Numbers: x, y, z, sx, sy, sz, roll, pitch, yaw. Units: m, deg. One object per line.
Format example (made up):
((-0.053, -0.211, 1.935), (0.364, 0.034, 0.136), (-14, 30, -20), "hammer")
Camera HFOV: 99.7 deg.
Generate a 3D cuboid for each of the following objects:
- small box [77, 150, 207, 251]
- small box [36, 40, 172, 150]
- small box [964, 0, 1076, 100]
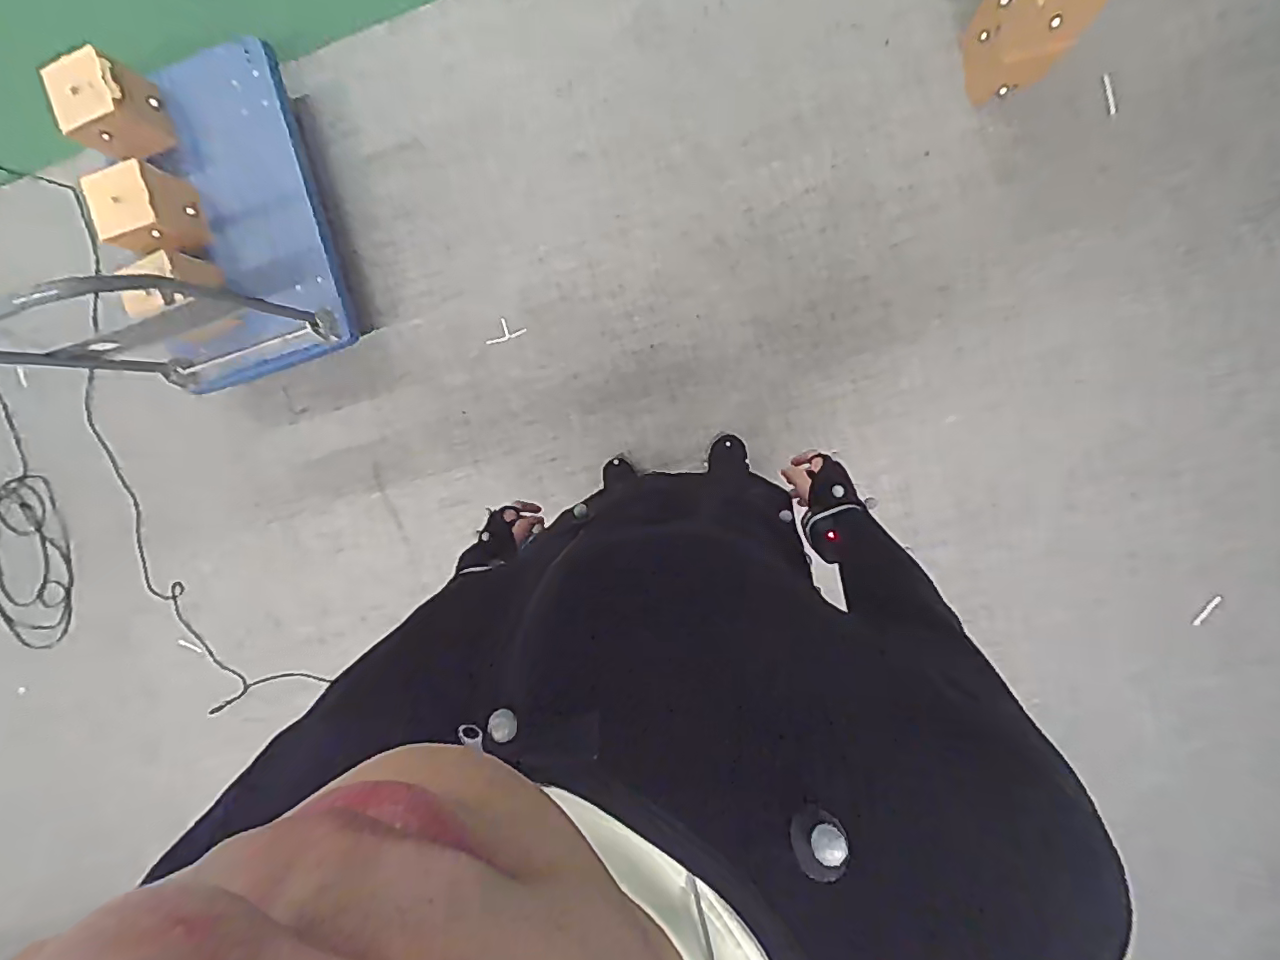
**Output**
((-1.333, -0.743, 1.457), (0.179, 0.176, 0.168), (-14, 94, 6), "small box")
((-1.409, -1.007, 1.432), (0.179, 0.176, 0.168), (-9, 98, 6), "small box")
((0.934, -1.100, 1.344), (0.168, 0.176, 0.179), (-9, 95, 8), "small box")
